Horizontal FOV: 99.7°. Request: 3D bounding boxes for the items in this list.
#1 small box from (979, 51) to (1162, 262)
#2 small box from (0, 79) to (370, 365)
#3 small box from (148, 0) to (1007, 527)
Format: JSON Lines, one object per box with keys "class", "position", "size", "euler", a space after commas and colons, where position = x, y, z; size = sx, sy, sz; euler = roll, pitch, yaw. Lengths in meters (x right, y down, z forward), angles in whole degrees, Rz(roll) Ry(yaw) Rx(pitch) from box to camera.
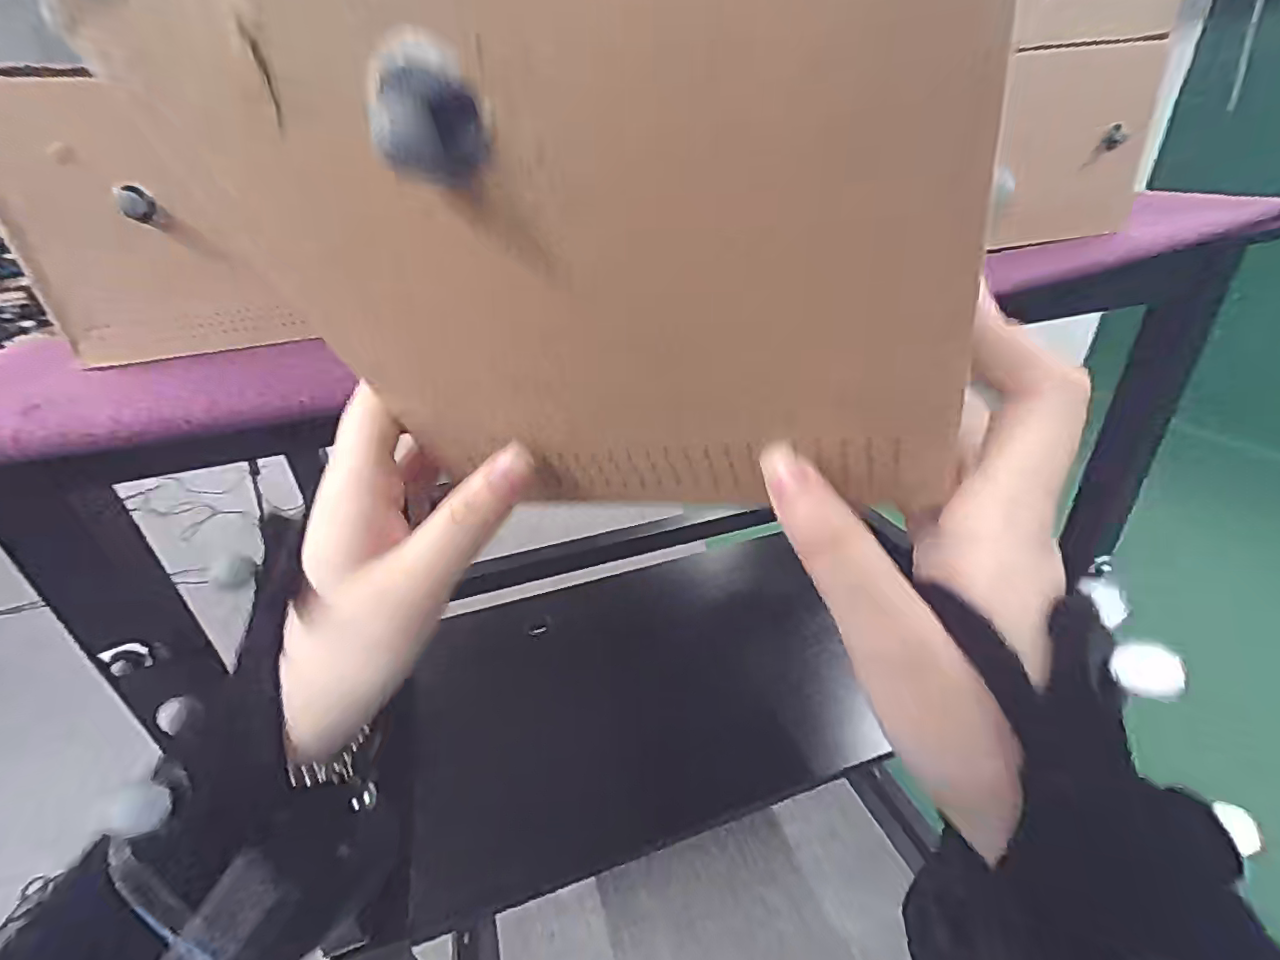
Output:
{"class": "small box", "position": [0.398, -0.346, 0.599], "size": [0.179, 0.176, 0.168], "euler": [-12, 27, -8]}
{"class": "small box", "position": [-0.332, -0.199, 0.428], "size": [0.179, 0.176, 0.168], "euler": [-15, 32, -19]}
{"class": "small box", "position": [0.012, -0.097, 0.189], "size": [0.179, 0.176, 0.168], "euler": [0, 50, 25]}
